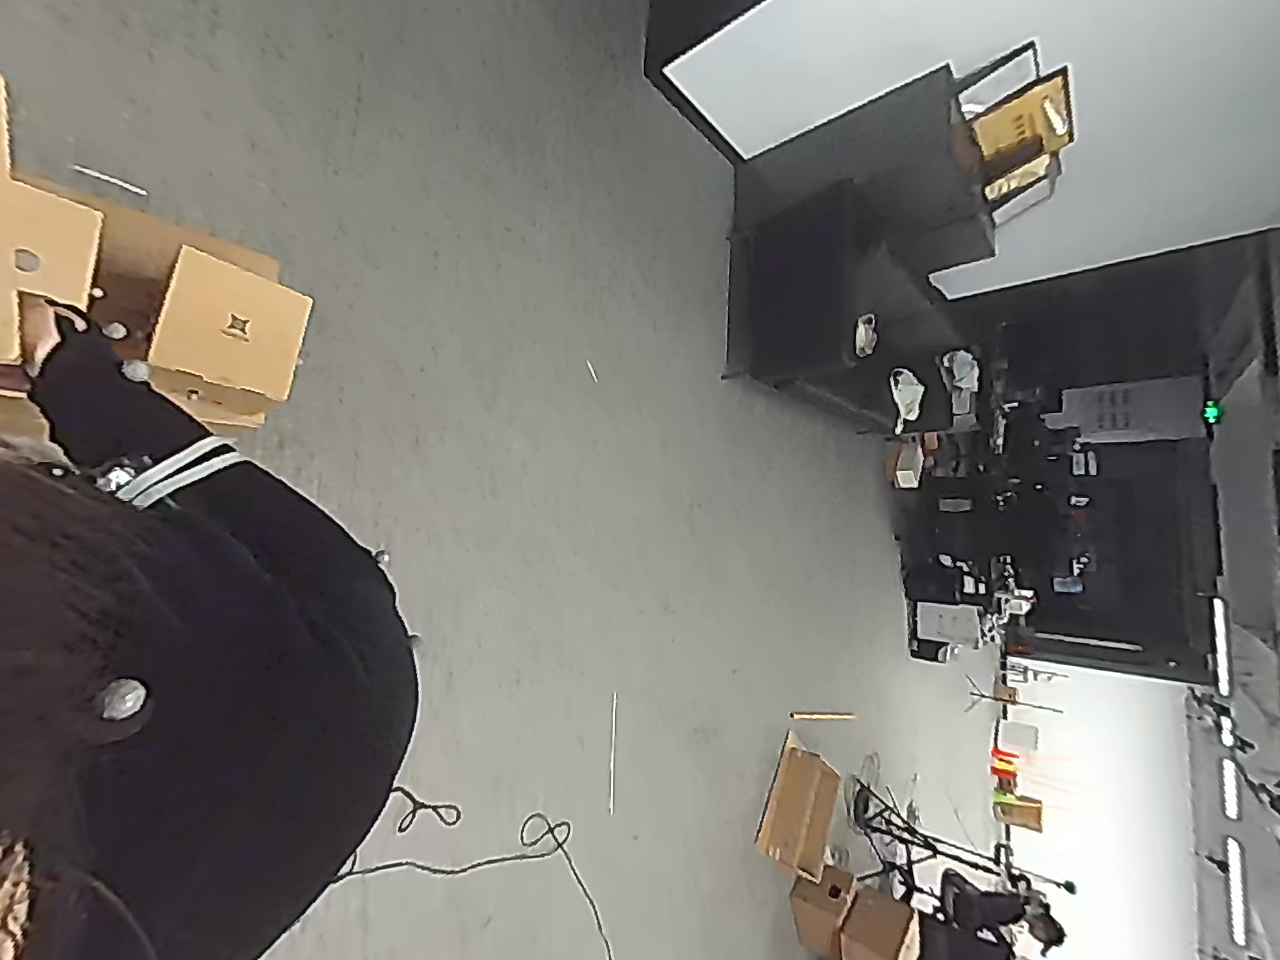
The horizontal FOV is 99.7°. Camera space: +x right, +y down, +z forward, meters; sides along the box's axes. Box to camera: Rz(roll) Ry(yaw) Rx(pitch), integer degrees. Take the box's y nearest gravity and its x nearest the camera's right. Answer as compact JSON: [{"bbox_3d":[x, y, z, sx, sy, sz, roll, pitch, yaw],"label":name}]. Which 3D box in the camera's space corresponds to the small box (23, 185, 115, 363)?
[{"bbox_3d":[-0.782,-0.255,0.663,0.168,0.176,0.179,11,81,-51],"label":"small box"}]

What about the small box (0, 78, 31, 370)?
[{"bbox_3d":[-0.501,-0.169,0.331,0.168,0.176,0.179,-5,105,-50],"label":"small box"}]

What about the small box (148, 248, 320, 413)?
[{"bbox_3d":[-0.628,-0.216,0.836,0.168,0.176,0.179,17,76,-46],"label":"small box"}]
